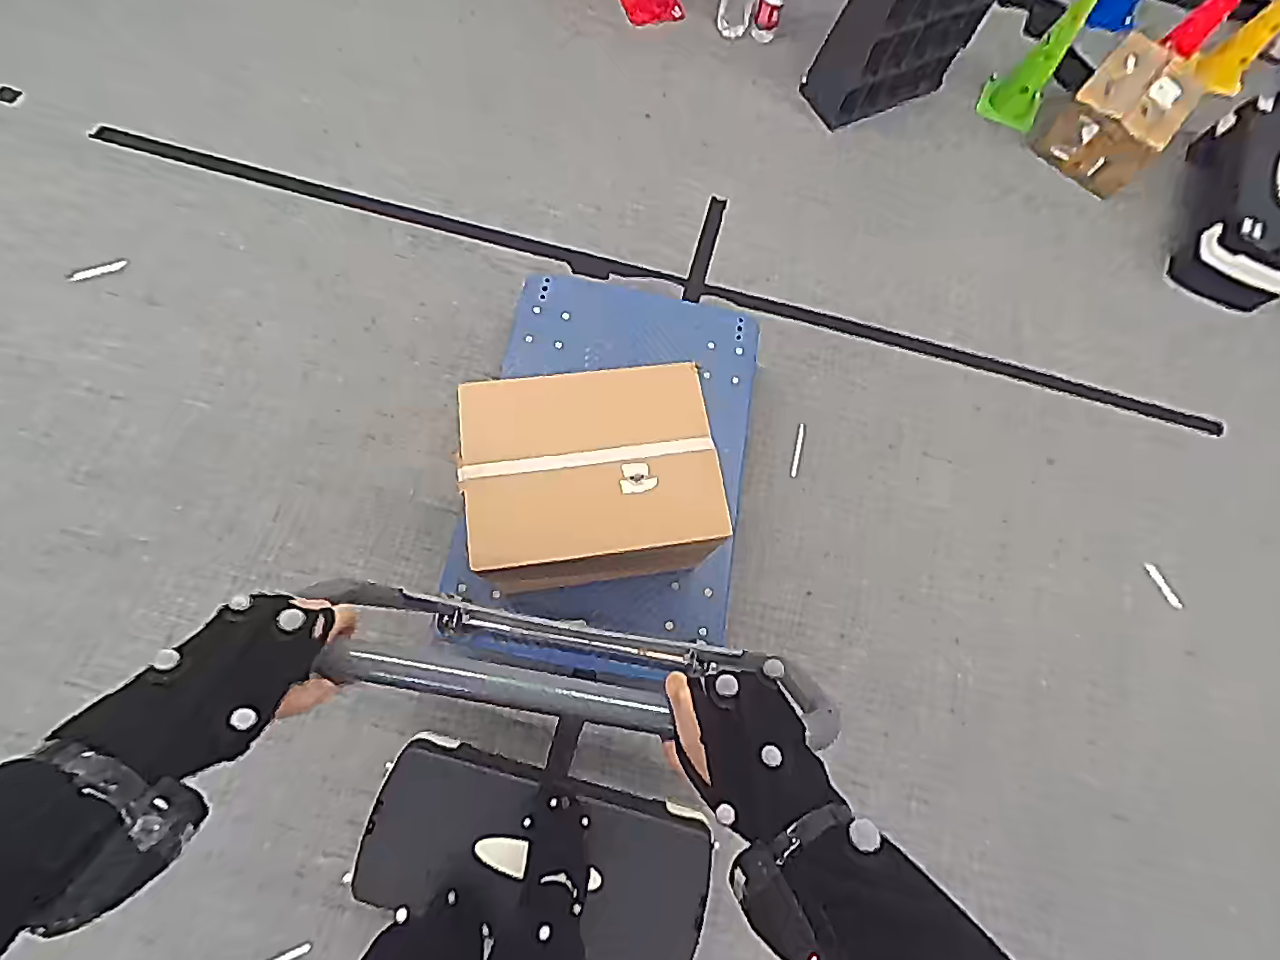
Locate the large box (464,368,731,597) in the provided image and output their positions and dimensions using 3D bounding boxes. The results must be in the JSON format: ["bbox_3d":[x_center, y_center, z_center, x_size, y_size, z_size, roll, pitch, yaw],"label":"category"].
[{"bbox_3d":[-0.089,0.019,1.013,0.408,0.320,0.320,-7,73,-9],"label":"large box"}]
